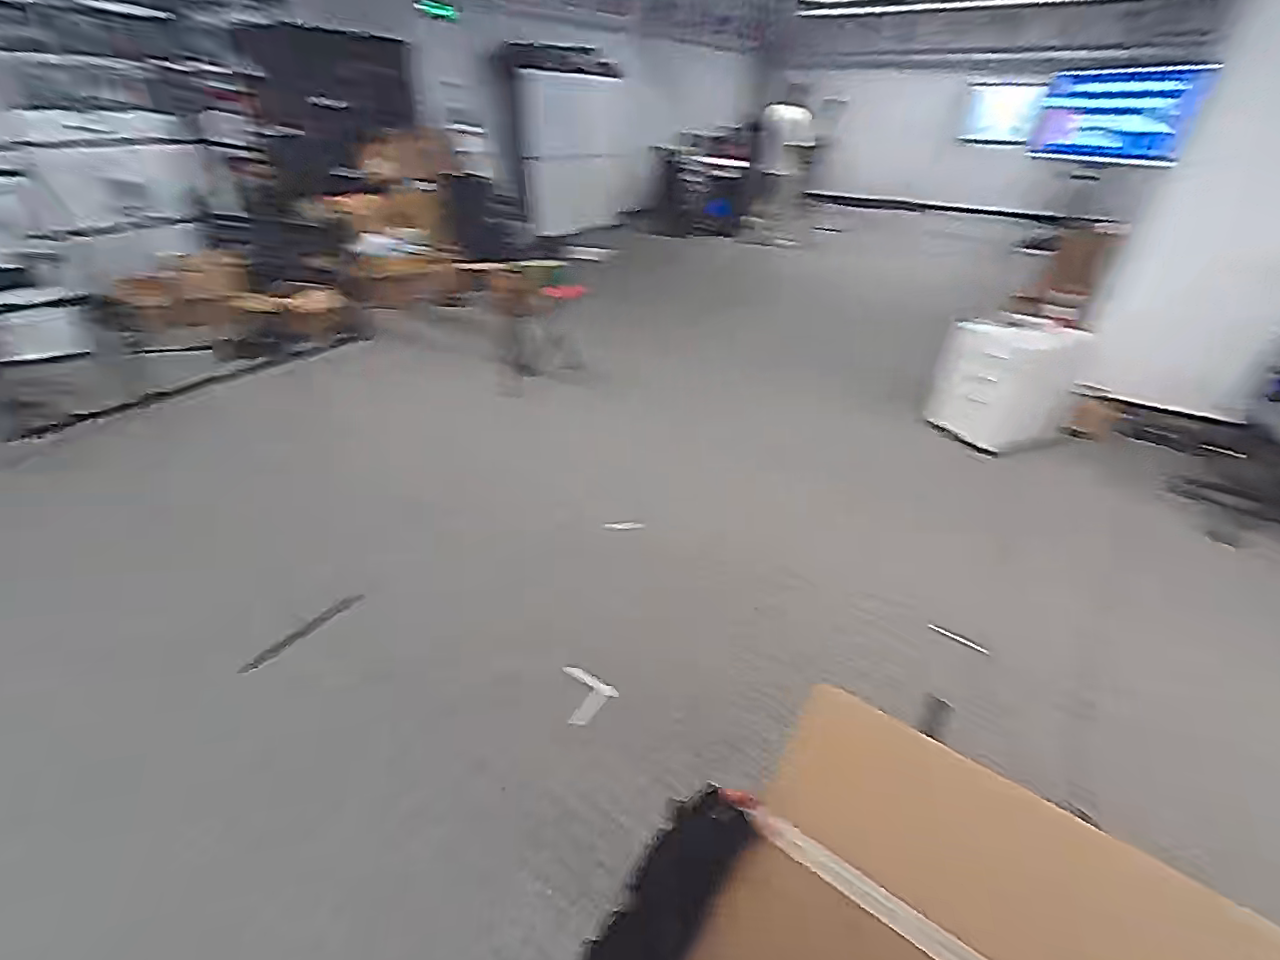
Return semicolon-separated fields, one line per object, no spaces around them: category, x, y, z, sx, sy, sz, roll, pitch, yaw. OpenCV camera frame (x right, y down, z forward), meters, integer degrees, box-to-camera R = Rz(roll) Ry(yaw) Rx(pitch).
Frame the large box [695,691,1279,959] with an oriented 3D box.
large box;0.277;0.487;0.496;0.408;0.320;0.320;24;48;28
